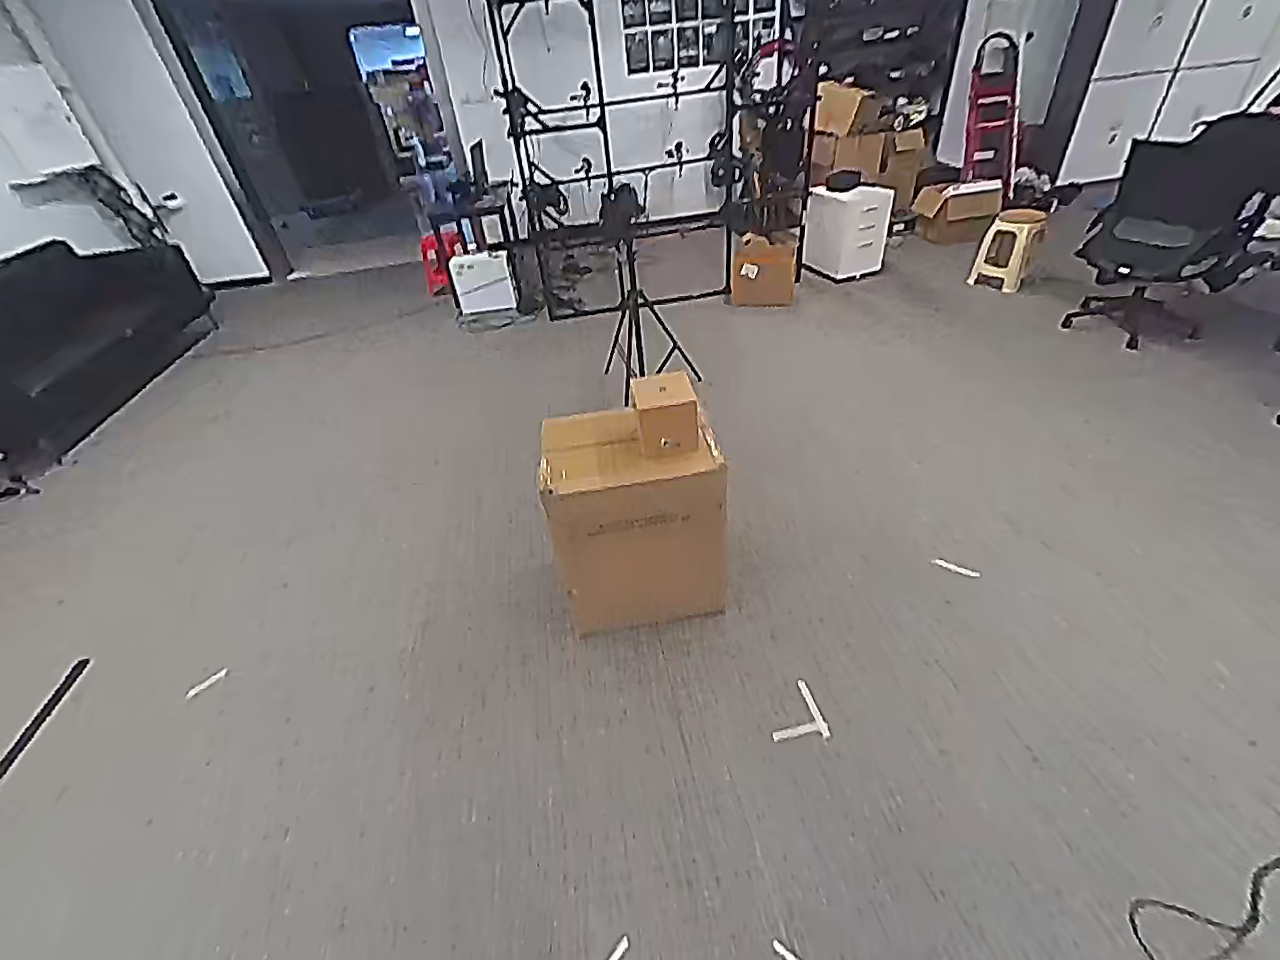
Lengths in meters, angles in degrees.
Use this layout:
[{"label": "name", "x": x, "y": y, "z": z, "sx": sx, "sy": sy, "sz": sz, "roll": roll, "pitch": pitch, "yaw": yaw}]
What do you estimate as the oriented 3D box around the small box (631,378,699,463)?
[{"label": "small box", "x": 0.072, "y": -0.173, "z": 1.575, "sx": 0.168, "sy": 0.176, "sz": 0.179, "roll": -11, "pitch": 40, "yaw": -2}]
